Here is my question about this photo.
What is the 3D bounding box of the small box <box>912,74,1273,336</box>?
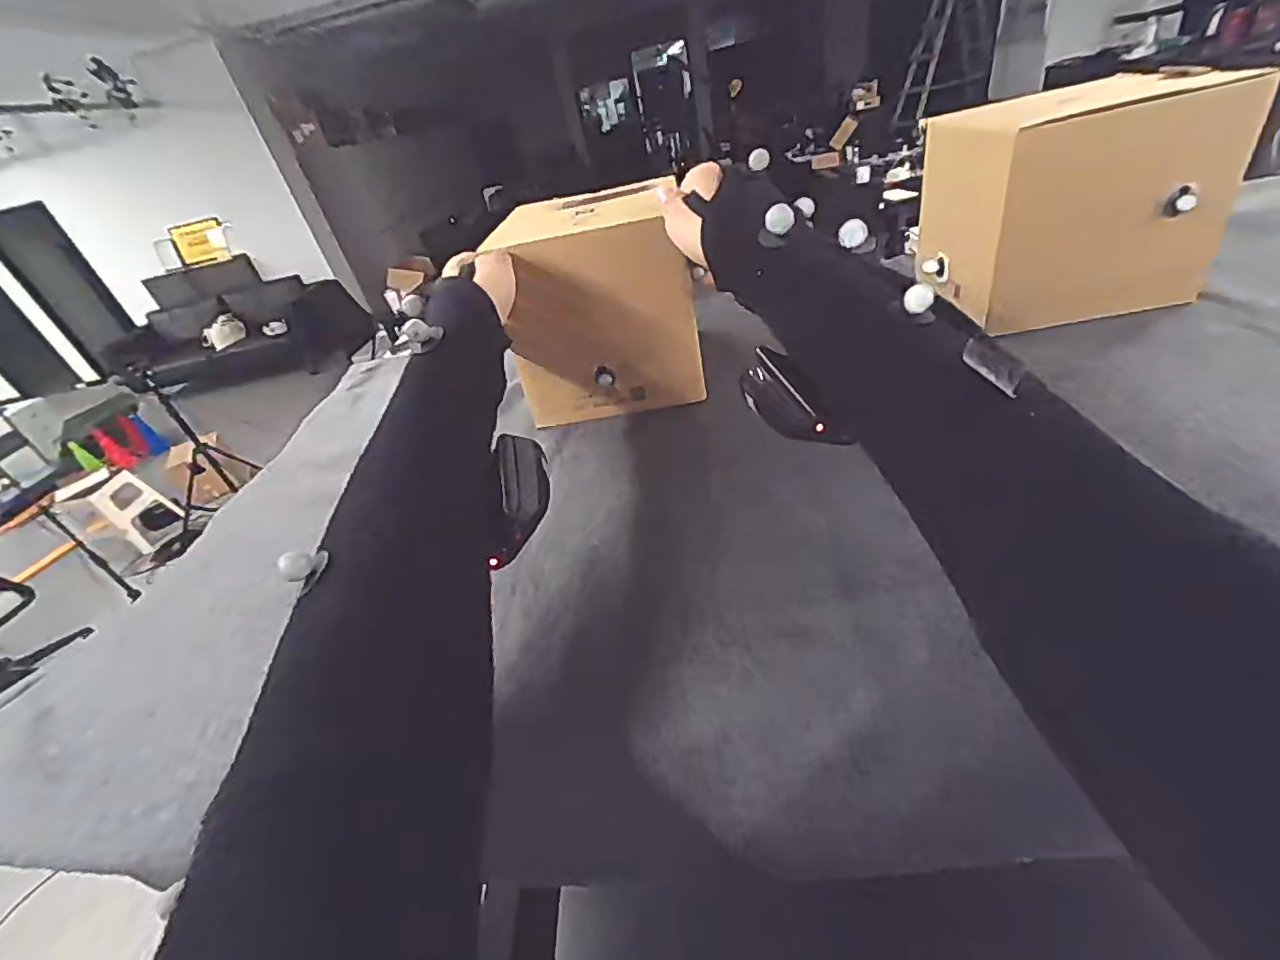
[{"bbox_3d":[0.374,-0.250,0.495,0.179,0.176,0.168,-8,35,8],"label":"small box"}]
